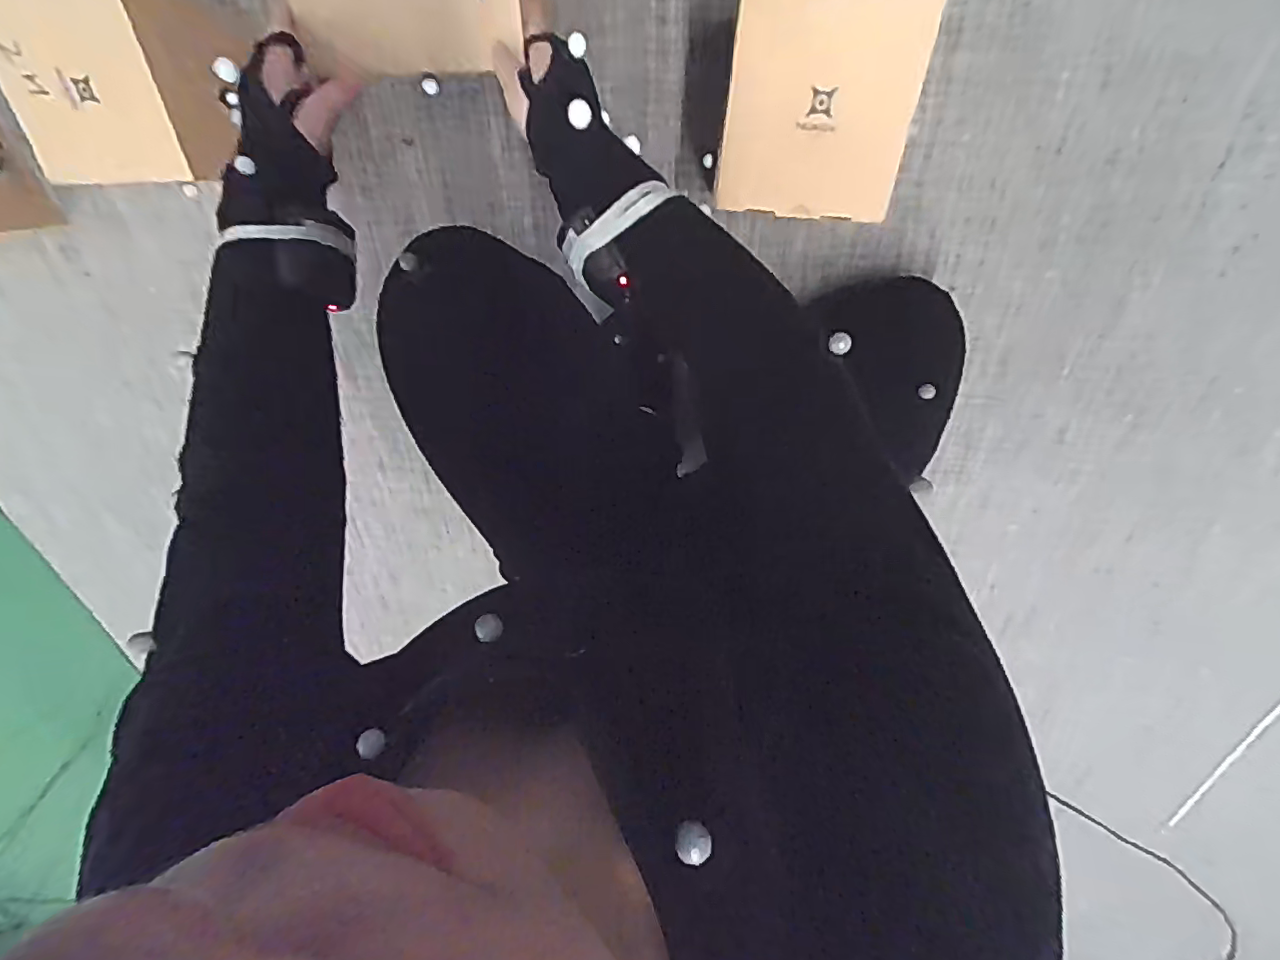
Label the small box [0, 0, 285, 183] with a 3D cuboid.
[{"bbox_3d":[-0.542,-0.433,0.607,0.179,0.176,0.168,3,122,6],"label":"small box"}]

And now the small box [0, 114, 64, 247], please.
[{"bbox_3d":[-0.928,-0.384,0.690,0.179,0.176,0.168,-8,121,12],"label":"small box"}]

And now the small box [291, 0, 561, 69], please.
[{"bbox_3d":[-0.169,-0.435,0.433,0.179,0.176,0.168,0,127,2],"label":"small box"}]
